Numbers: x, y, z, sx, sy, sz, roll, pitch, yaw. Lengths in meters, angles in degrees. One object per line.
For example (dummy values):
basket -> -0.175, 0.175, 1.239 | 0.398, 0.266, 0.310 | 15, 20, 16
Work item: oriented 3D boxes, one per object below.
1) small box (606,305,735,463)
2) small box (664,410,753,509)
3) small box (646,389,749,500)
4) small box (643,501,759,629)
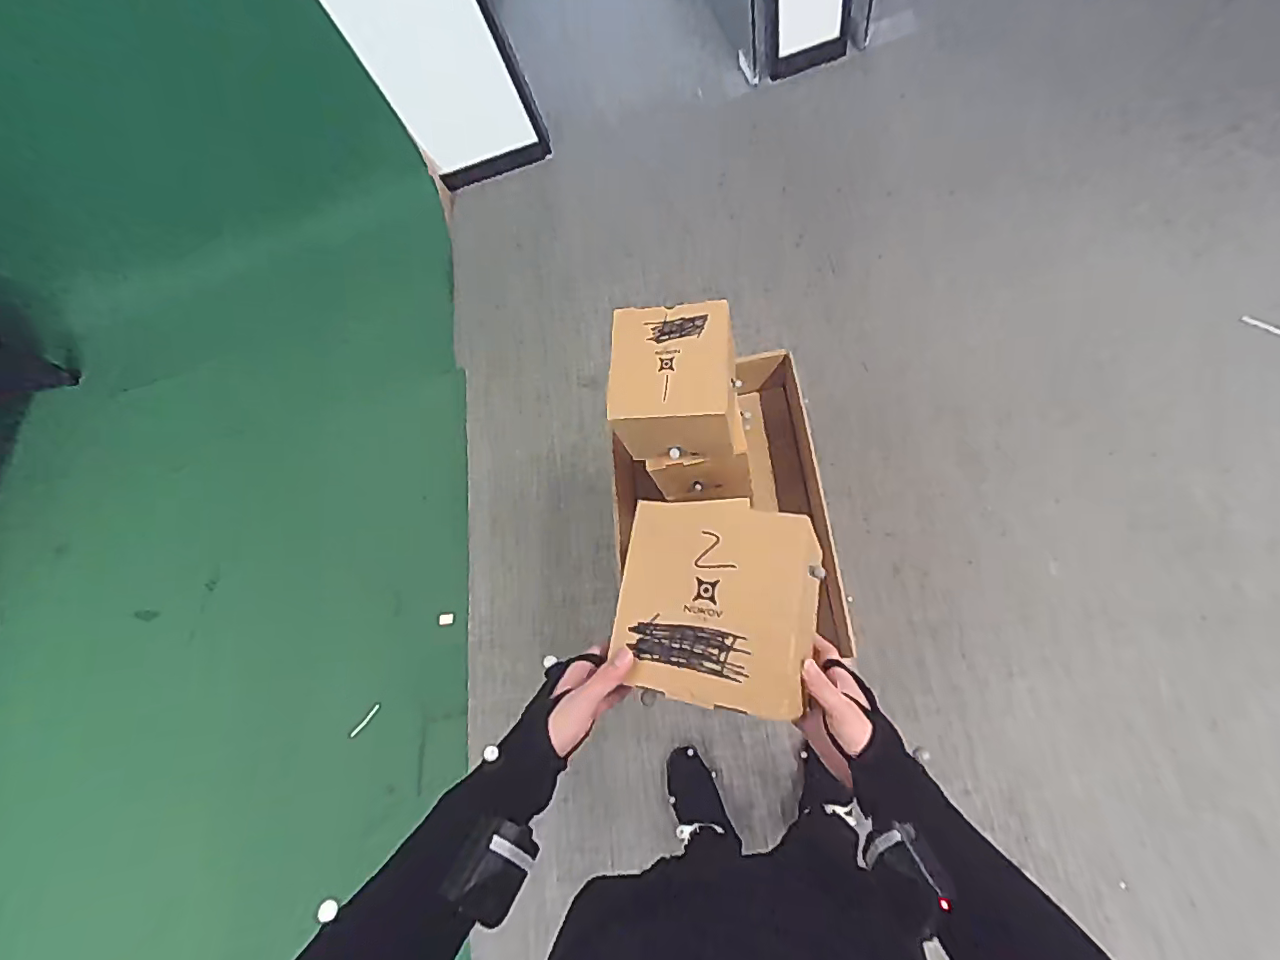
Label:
small box -> 0.055, -0.137, 0.820 | 0.168, 0.176, 0.179 | -1, 72, 14
small box -> 0.138, -0.030, 1.115 | 0.168, 0.176, 0.179 | -9, 70, 12
small box -> 0.098, -0.079, 0.968 | 0.168, 0.176, 0.179 | -10, 69, 10
small box -> 0.103, 0.146, 0.876 | 0.168, 0.176, 0.179 | -4, 67, 12
